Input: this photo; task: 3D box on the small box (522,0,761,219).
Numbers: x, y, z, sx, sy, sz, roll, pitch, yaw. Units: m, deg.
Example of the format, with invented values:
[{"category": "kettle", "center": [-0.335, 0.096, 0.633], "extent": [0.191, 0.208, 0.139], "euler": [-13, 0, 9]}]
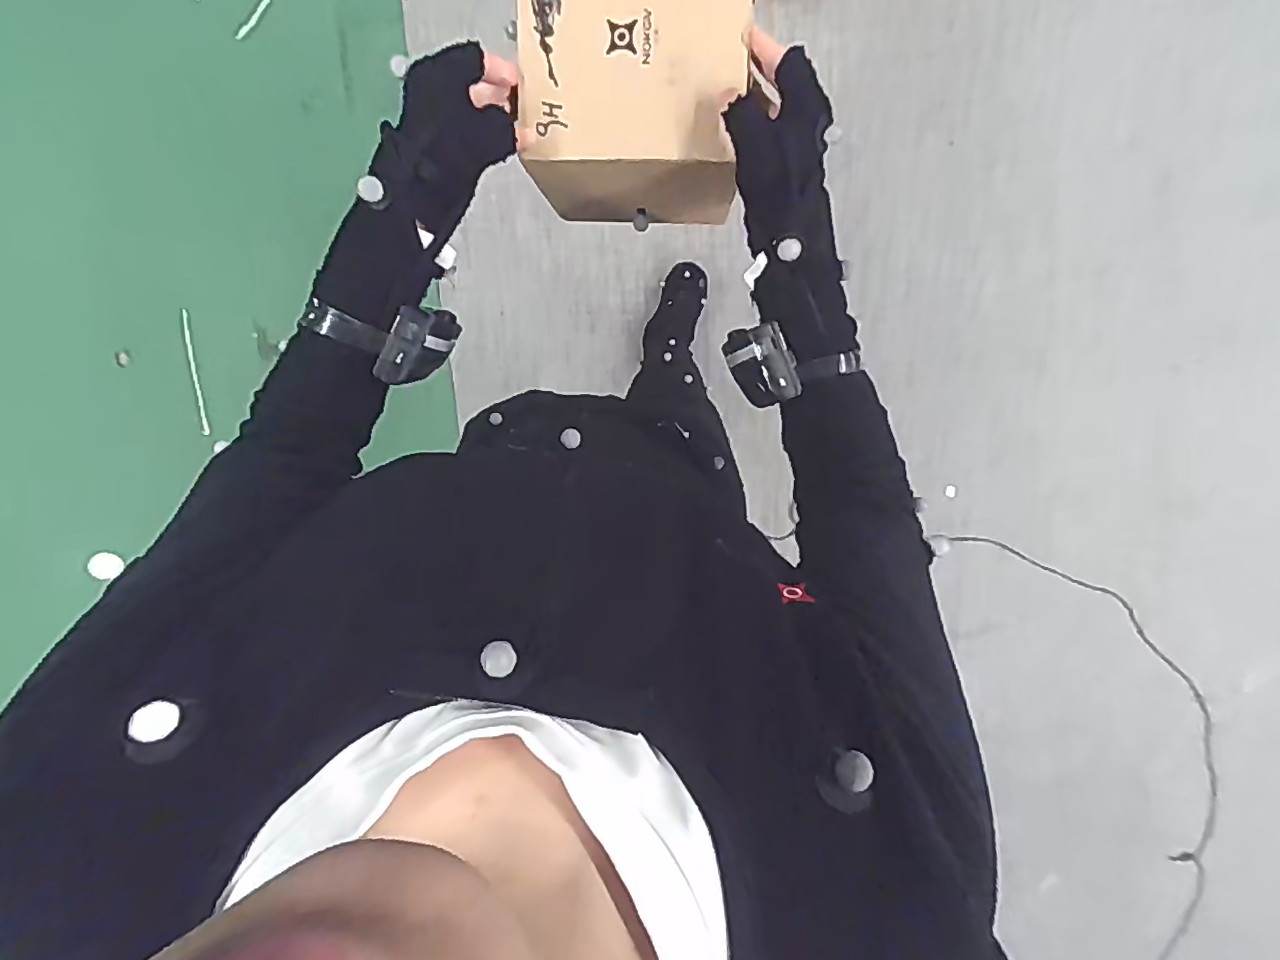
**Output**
[{"category": "small box", "center": [0.003, -0.341, 0.475], "extent": [0.179, 0.176, 0.168], "euler": [3, 101, 3]}]
